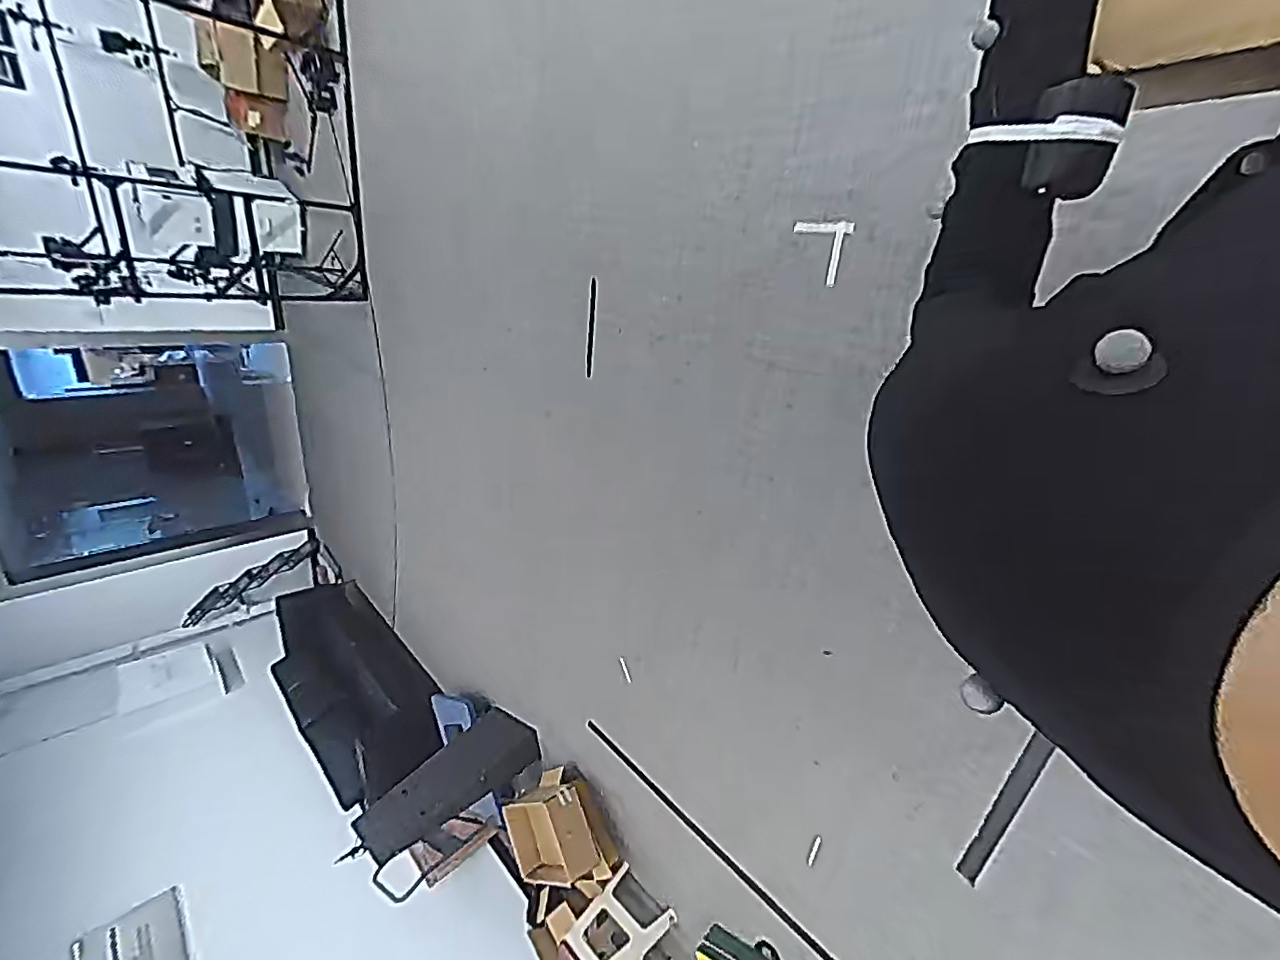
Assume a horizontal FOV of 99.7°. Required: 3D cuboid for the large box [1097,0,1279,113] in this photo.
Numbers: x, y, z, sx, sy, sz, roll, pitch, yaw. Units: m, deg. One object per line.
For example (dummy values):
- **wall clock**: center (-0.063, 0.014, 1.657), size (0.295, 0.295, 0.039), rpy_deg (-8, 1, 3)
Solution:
- **large box**: center (0.531, -0.417, 0.269), size (0.408, 0.320, 0.320), rpy_deg (17, 124, 39)
